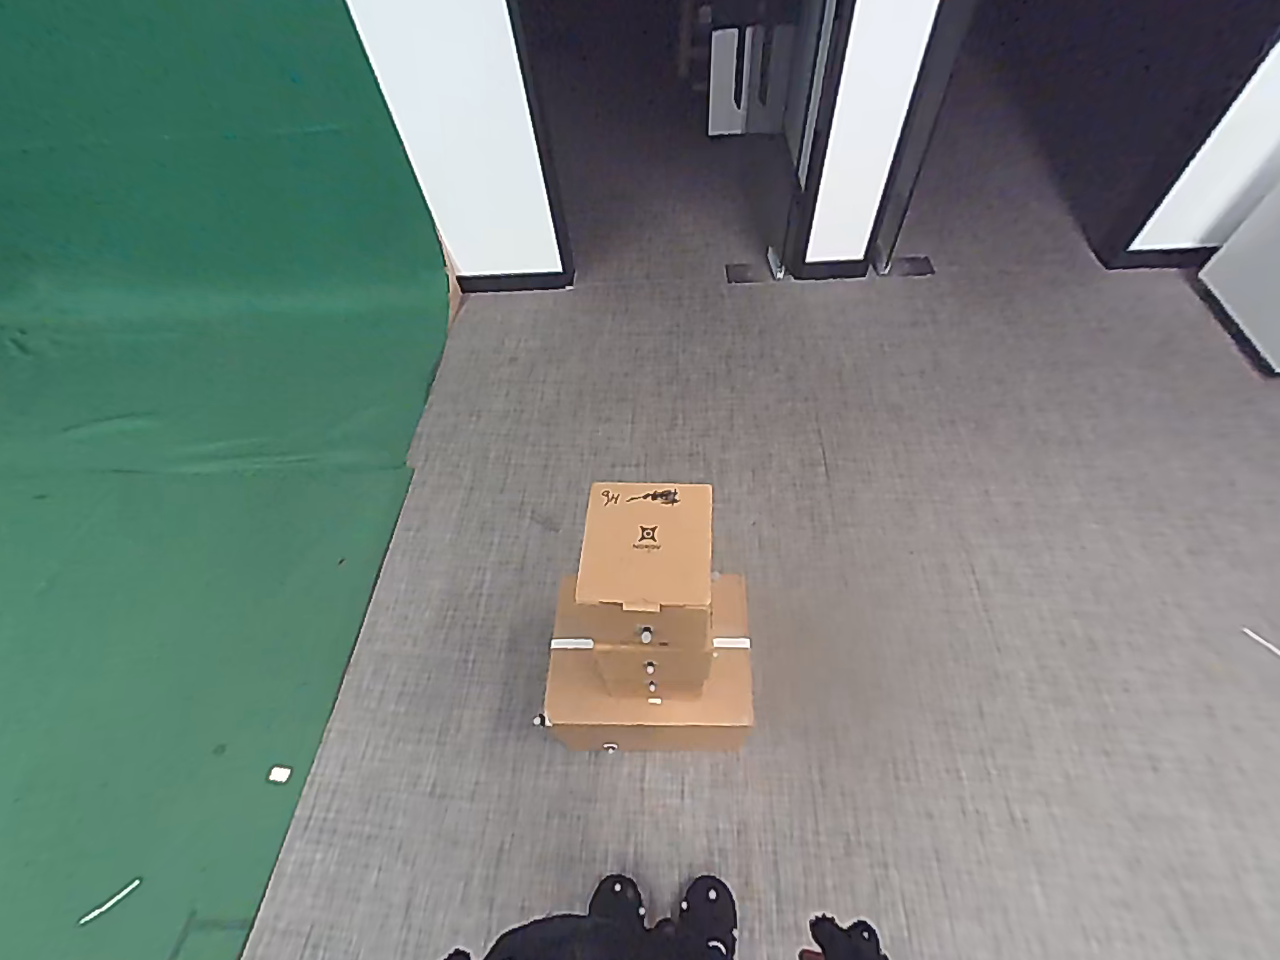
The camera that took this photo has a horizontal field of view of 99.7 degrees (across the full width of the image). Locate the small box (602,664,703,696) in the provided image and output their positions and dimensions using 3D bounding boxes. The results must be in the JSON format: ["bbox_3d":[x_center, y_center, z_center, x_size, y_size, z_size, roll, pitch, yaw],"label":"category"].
[{"bbox_3d":[0.030,0.305,1.025,0.179,0.176,0.168,1,57,4],"label":"small box"}]

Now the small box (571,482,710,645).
[{"bbox_3d":[0.012,0.121,0.755,0.168,0.176,0.179,2,57,7],"label":"small box"}]

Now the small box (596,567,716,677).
[{"bbox_3d":[0.025,0.220,0.886,0.179,0.176,0.168,-3,57,2],"label":"small box"}]
